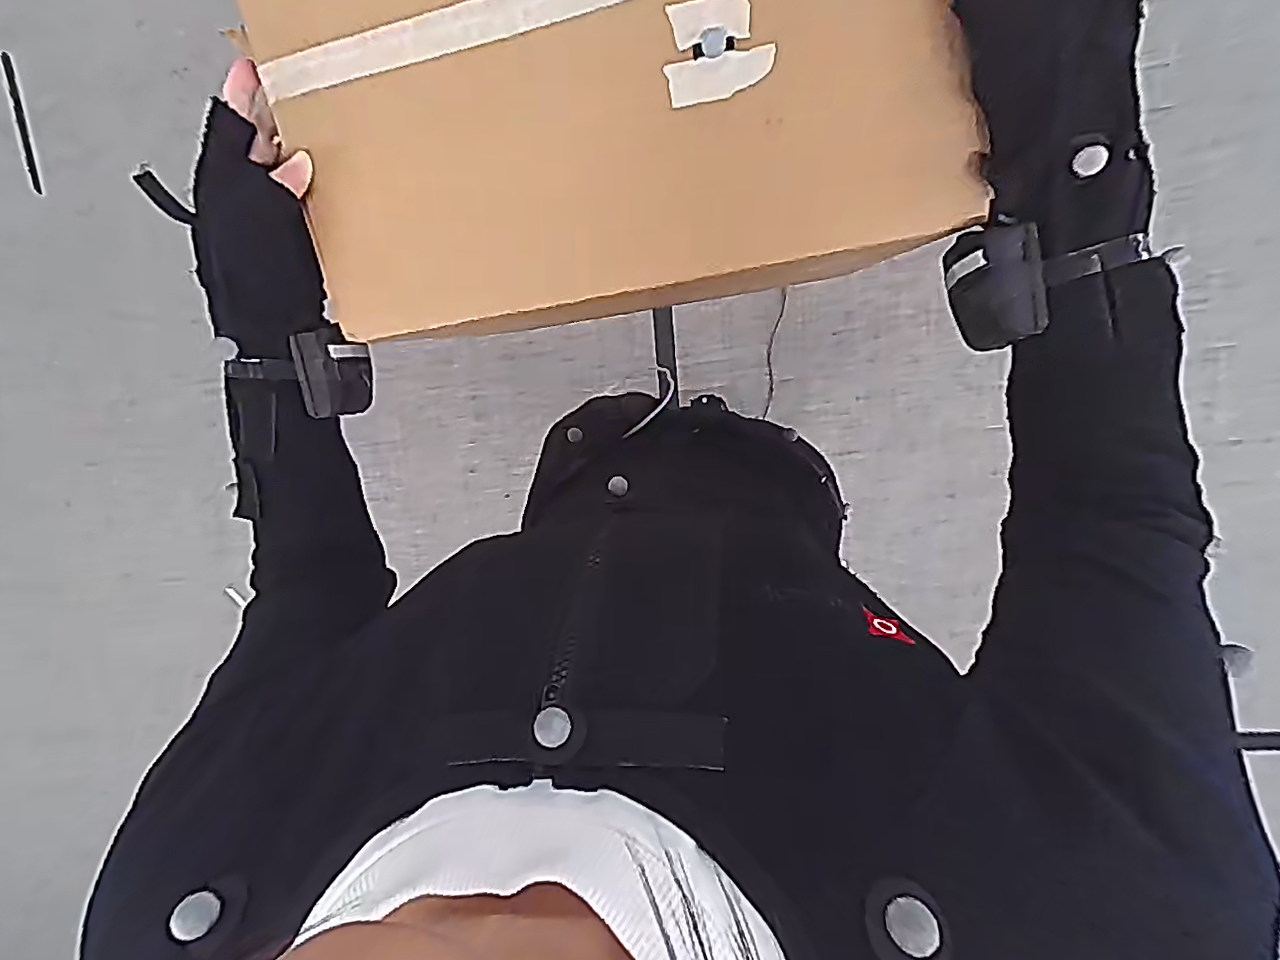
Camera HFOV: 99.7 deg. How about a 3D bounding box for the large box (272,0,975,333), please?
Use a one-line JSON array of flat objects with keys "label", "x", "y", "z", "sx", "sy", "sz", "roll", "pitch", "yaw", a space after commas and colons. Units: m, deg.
[{"label": "large box", "x": -0.008, "y": -0.317, "z": 0.452, "sx": 0.408, "sy": 0.320, "sz": 0.320, "roll": -8, "pitch": 106, "yaw": 9}]
